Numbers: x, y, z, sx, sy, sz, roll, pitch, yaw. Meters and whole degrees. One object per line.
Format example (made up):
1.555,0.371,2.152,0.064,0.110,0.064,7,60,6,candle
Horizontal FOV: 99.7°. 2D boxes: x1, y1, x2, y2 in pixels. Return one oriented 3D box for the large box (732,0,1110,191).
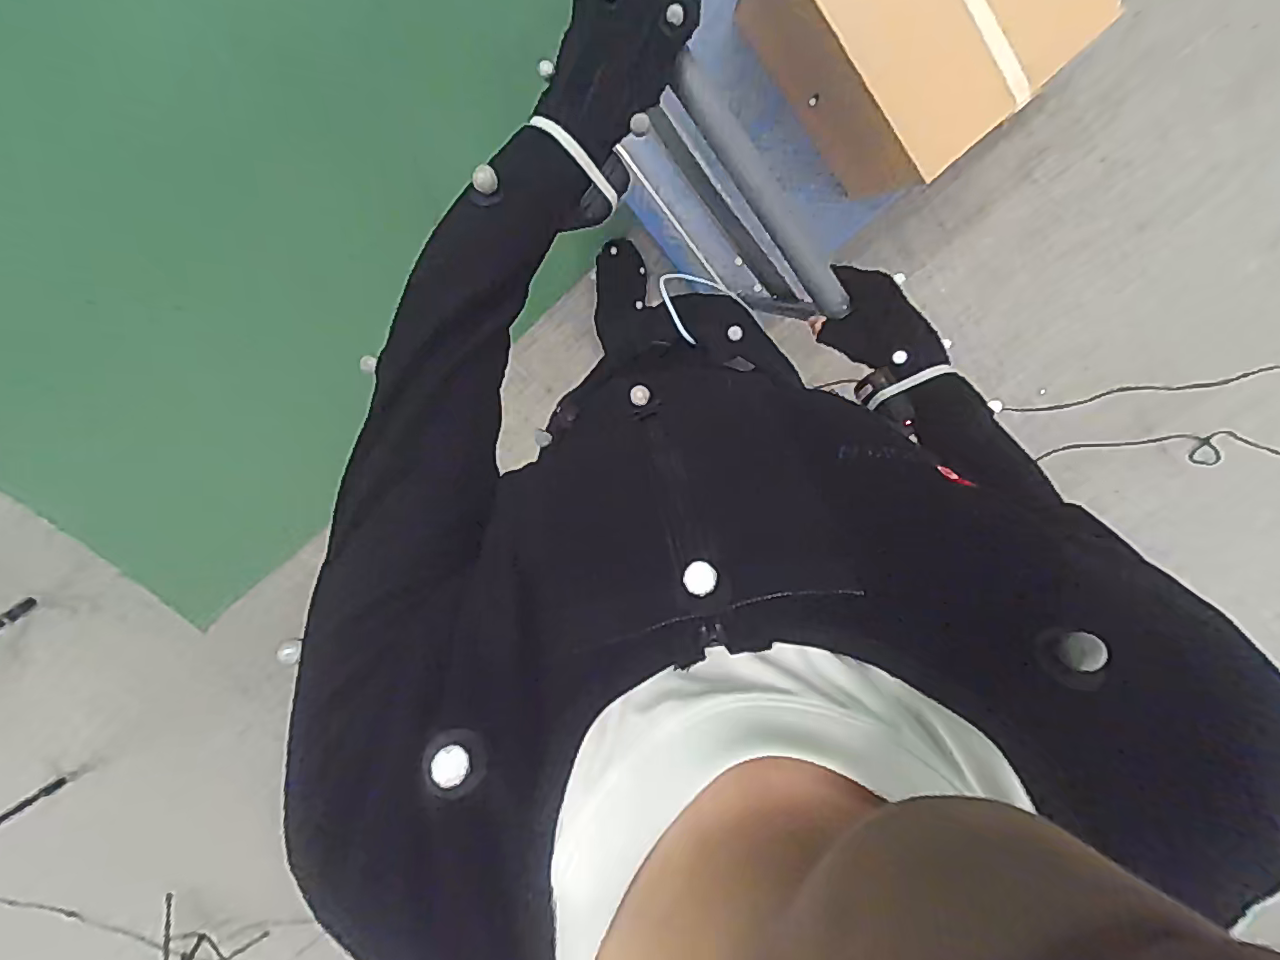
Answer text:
0.406,-0.751,0.865,0.320,0.320,0.408,-40,107,14,large box
